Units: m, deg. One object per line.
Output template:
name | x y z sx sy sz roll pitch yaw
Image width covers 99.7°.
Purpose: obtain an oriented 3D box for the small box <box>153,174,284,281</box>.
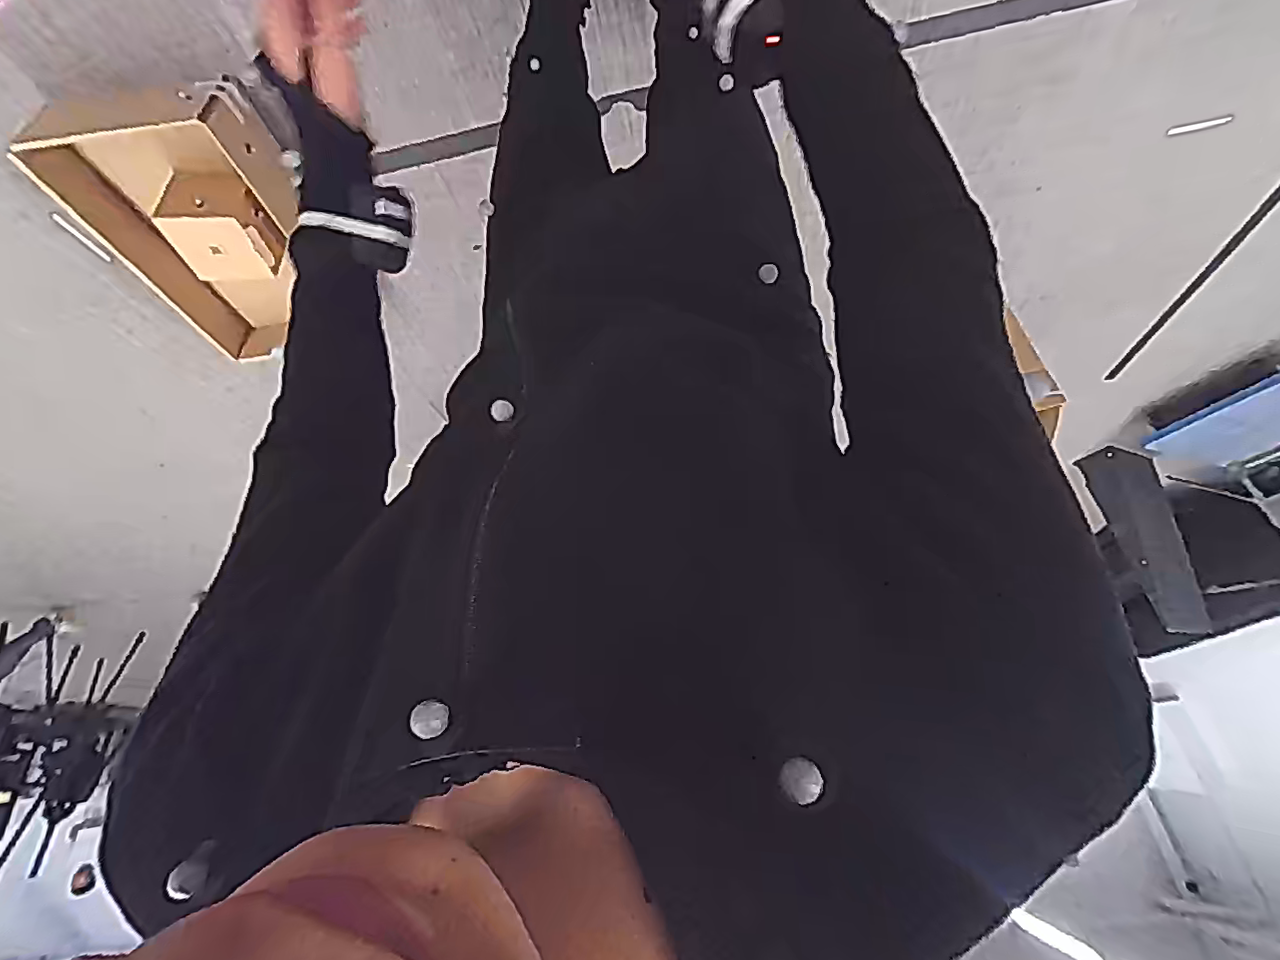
small box | -0.961 -0.587 1.257 0.179 0.176 0.168 -4 151 -6
